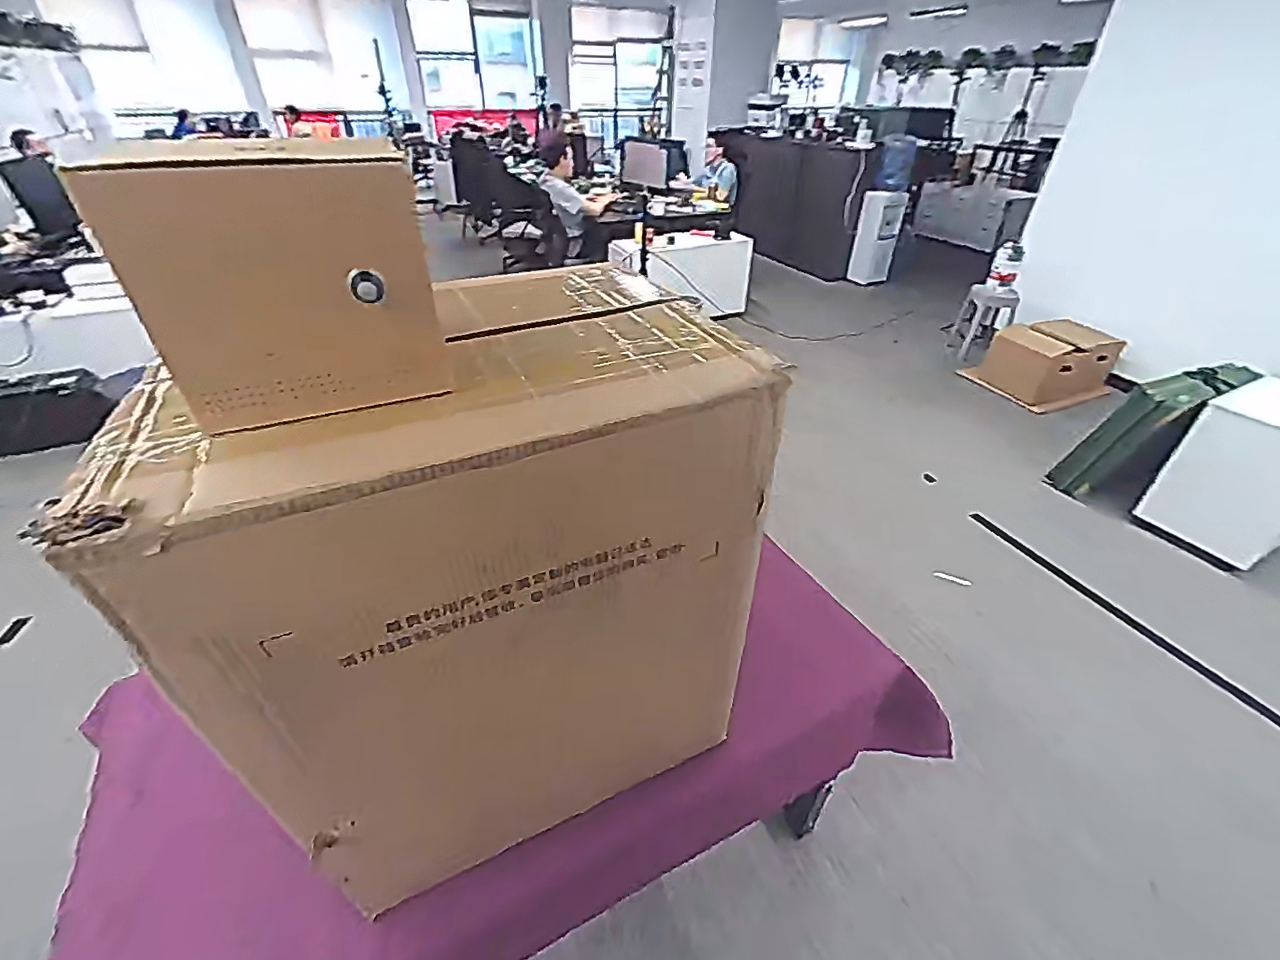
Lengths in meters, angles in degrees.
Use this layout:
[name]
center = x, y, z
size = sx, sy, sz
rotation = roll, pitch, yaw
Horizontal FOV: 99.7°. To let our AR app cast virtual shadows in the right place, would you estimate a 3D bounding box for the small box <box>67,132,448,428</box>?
[small box]
center = -0.257, -0.161, 0.417
size = 0.179, 0.176, 0.168
rotation = -16, 39, -22
